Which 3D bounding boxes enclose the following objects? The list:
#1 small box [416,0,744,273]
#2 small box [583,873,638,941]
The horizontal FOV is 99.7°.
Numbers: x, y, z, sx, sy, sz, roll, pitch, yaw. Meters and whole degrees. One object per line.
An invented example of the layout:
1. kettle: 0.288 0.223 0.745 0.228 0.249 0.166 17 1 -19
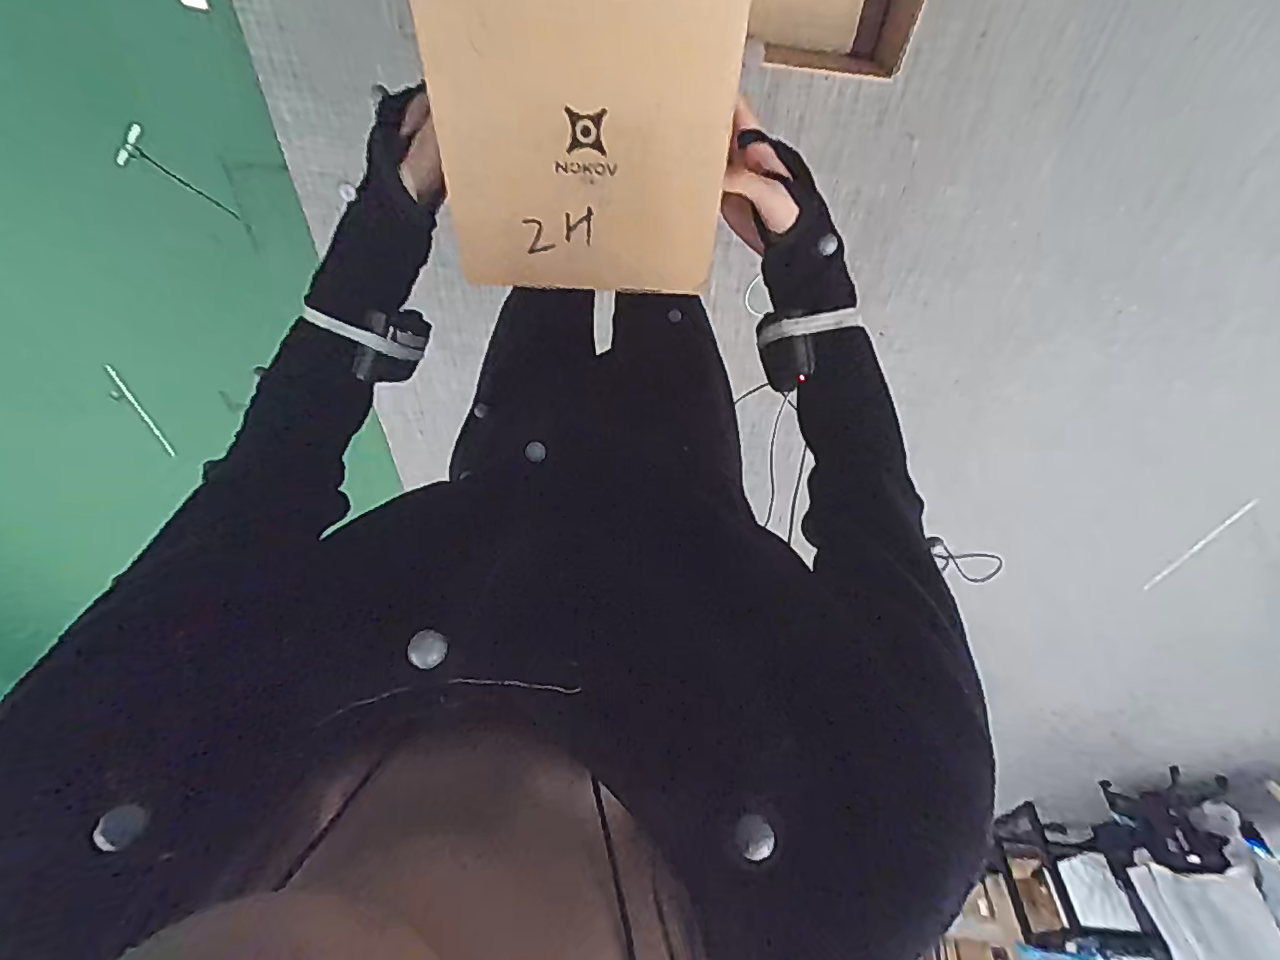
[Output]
1. small box: -0.034 -0.263 0.359 0.168 0.176 0.179 3 137 -2
2. small box: -0.106 1.531 1.941 0.179 0.176 0.168 5 135 0
